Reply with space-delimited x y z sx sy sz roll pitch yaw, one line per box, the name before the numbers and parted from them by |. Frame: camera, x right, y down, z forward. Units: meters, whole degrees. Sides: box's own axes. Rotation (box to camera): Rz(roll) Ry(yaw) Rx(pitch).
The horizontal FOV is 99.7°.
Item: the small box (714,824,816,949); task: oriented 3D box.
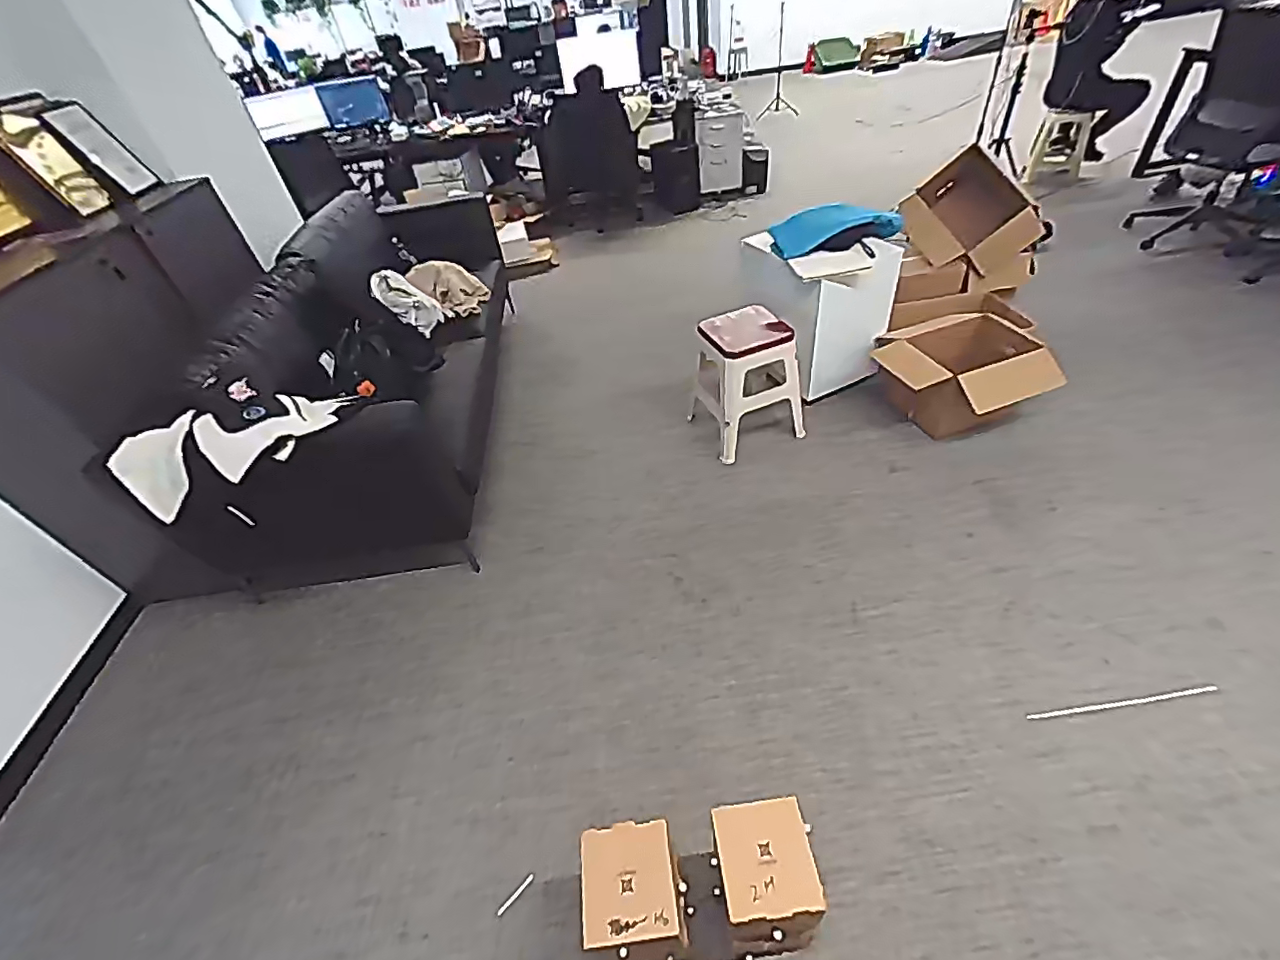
small box | 0.255 0.850 1.126 0.168 0.176 0.179 -9 42 0
